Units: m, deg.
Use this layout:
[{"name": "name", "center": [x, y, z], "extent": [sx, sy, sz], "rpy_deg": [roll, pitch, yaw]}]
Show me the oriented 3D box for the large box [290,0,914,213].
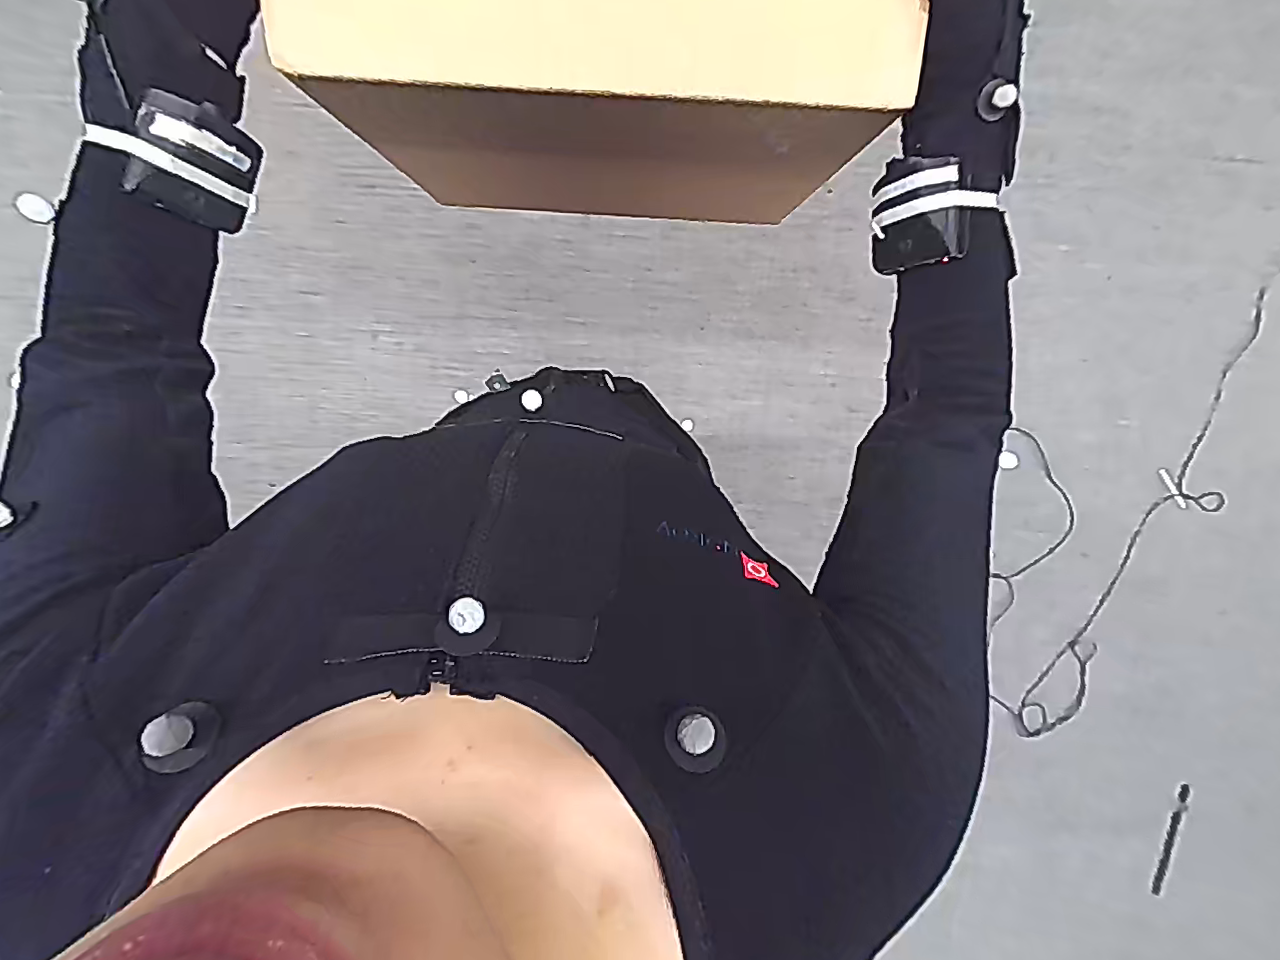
[{"name": "large box", "center": [-0.024, -0.439, 0.466], "extent": [0.408, 0.320, 0.320], "rpy_deg": [2, 103, -3]}]
